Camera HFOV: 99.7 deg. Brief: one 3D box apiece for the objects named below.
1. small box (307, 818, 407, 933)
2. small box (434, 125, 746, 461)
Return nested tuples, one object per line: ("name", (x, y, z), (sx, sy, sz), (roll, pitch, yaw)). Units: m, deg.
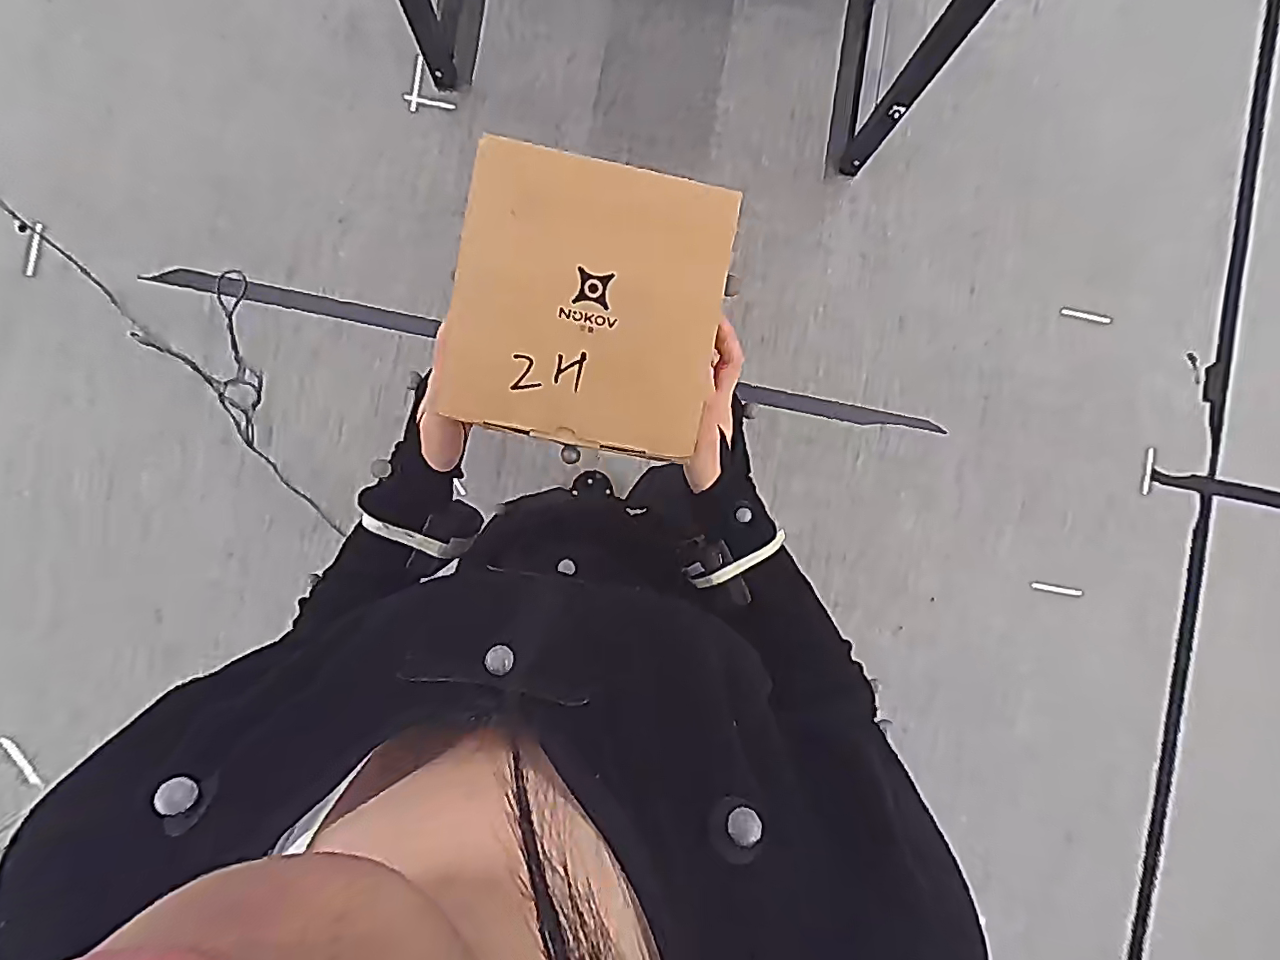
("small box", (-0.696, 0.977, 1.348), (0.168, 0.176, 0.179), (3, 90, -4))
("small box", (-0.036, -0.114, 0.408), (0.168, 0.176, 0.179), (11, 92, -5))
